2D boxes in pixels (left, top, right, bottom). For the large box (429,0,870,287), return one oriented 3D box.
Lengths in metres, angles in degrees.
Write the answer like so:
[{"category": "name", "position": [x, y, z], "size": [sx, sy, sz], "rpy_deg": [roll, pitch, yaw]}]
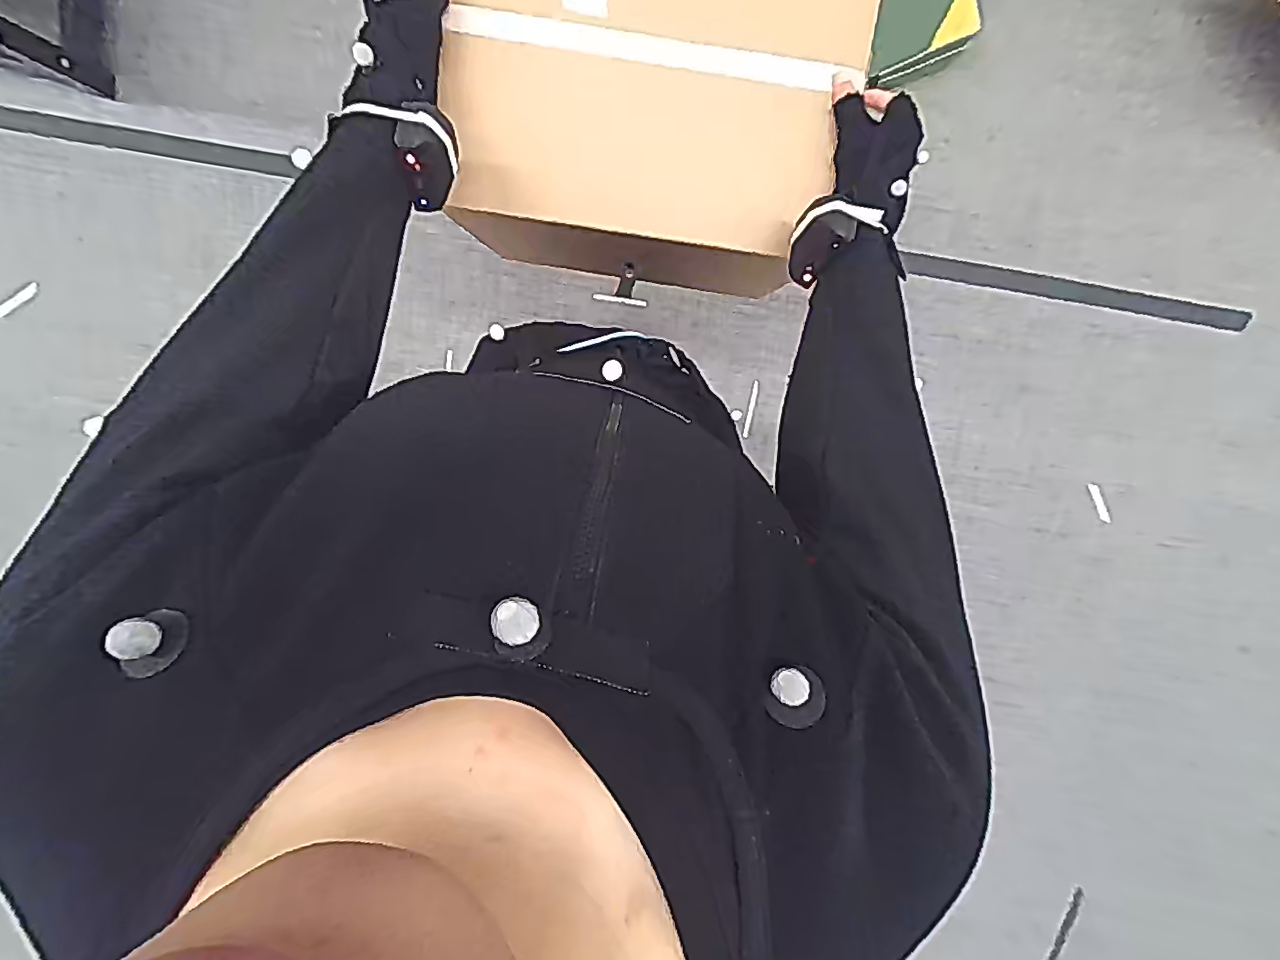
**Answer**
[{"category": "large box", "position": [0.010, -0.435, 0.654], "size": [0.408, 0.320, 0.320], "rpy_deg": [9, 102, -1]}]
